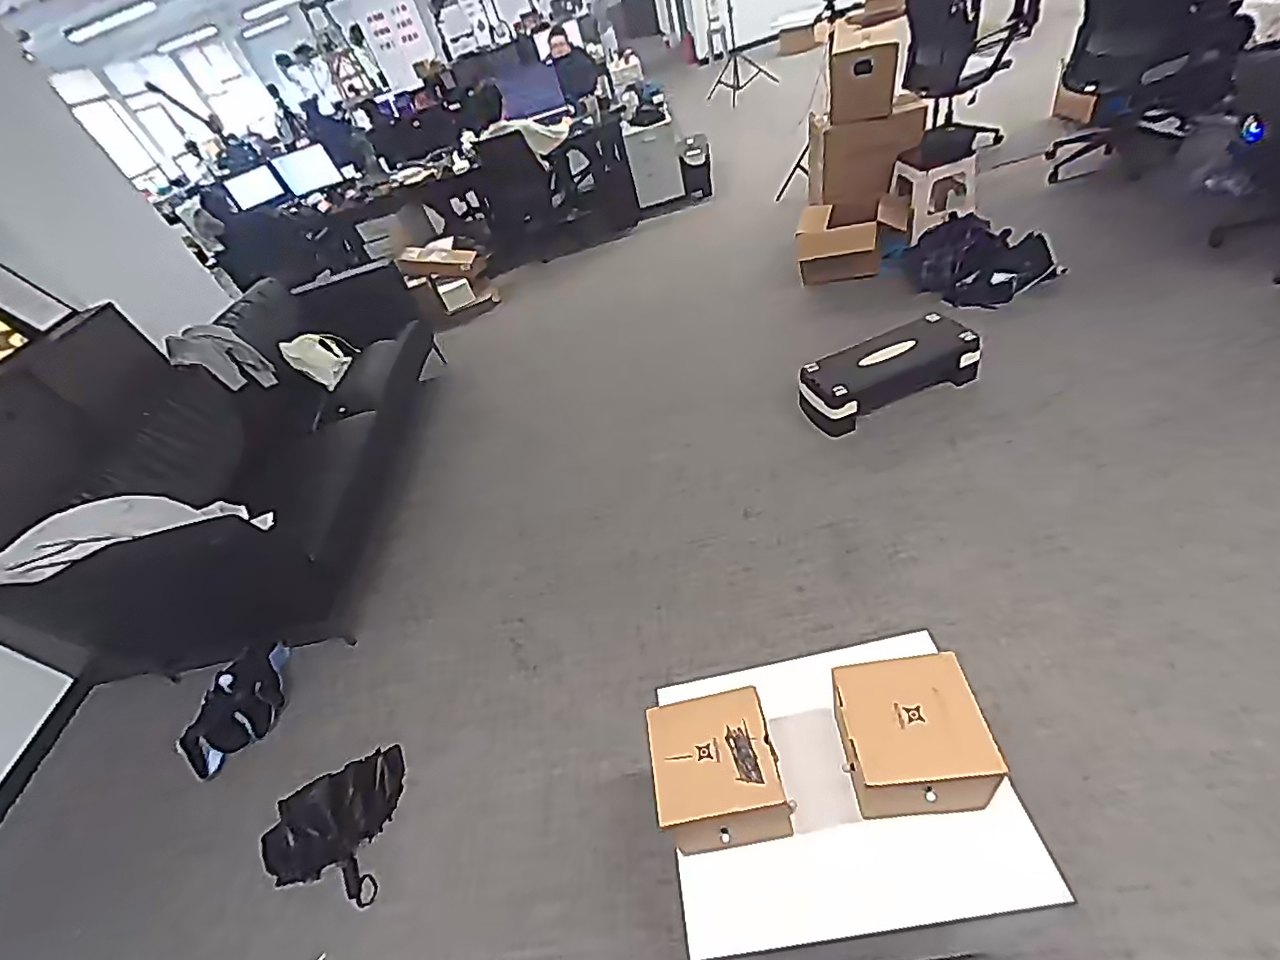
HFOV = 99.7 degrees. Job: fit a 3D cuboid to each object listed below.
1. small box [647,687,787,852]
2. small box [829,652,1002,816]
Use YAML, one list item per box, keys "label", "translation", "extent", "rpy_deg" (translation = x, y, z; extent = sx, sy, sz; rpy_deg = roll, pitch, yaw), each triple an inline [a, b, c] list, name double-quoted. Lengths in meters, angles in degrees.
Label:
- label: "small box"
  translation: [0.120, 0.447, 0.830]
  extent: [0.179, 0.176, 0.168]
  rpy_deg: [-15, 42, 6]
- label: "small box"
  translation: [0.391, 0.379, 0.798]
  extent: [0.179, 0.176, 0.168]
  rpy_deg: [-12, 44, 10]
